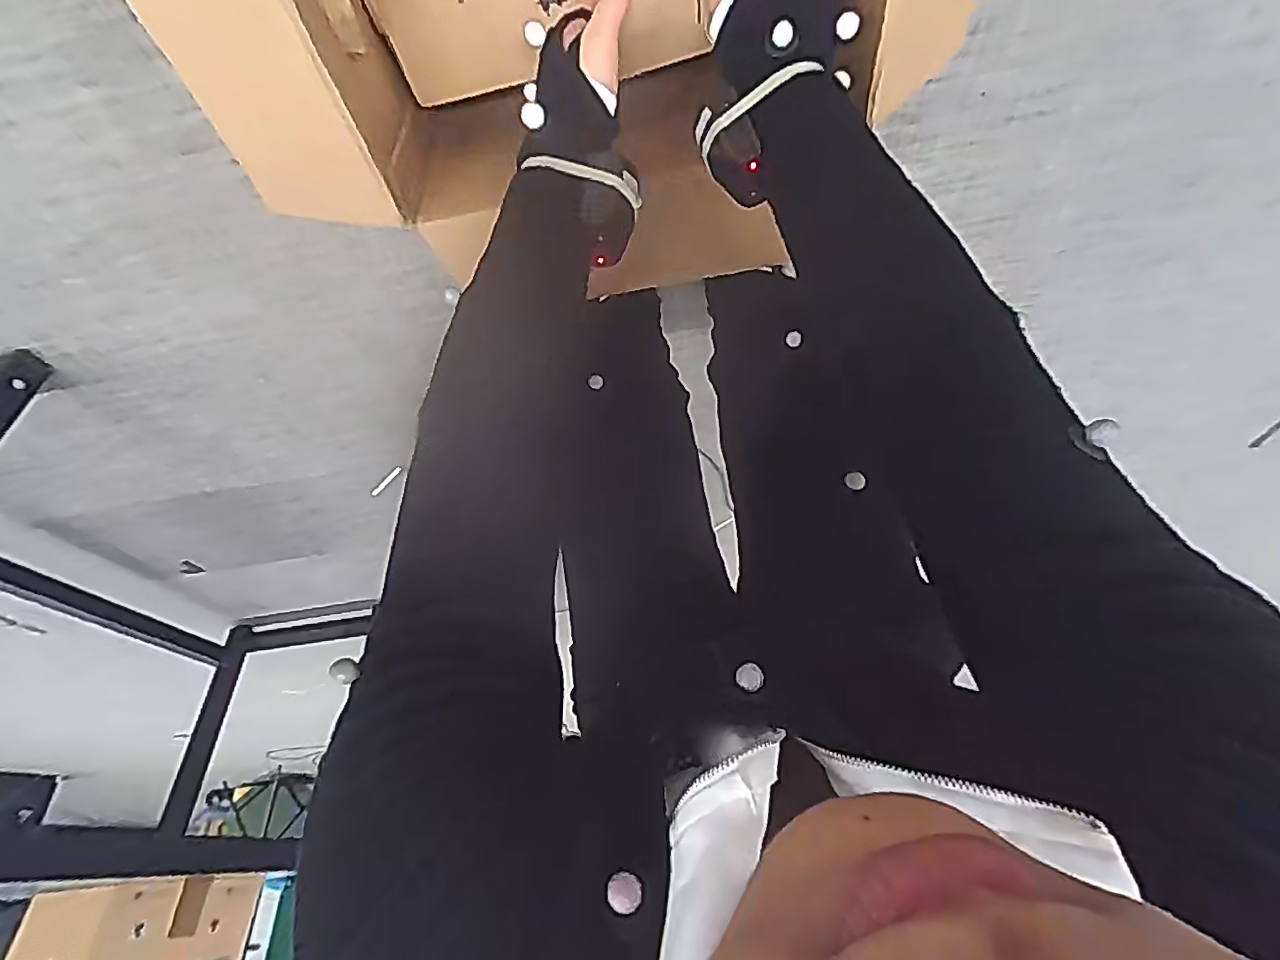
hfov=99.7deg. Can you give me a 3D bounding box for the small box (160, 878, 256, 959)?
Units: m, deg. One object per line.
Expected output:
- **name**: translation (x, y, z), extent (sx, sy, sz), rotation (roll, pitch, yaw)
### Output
- **small box**: translation (-1.046, 1.042, 1.267), extent (0.179, 0.176, 0.168), rotation (-8, 144, 5)

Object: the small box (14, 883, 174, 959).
- **small box**: translation (-1.080, 0.909, 1.071), extent (0.179, 0.176, 0.168), rotation (-9, 144, 4)
